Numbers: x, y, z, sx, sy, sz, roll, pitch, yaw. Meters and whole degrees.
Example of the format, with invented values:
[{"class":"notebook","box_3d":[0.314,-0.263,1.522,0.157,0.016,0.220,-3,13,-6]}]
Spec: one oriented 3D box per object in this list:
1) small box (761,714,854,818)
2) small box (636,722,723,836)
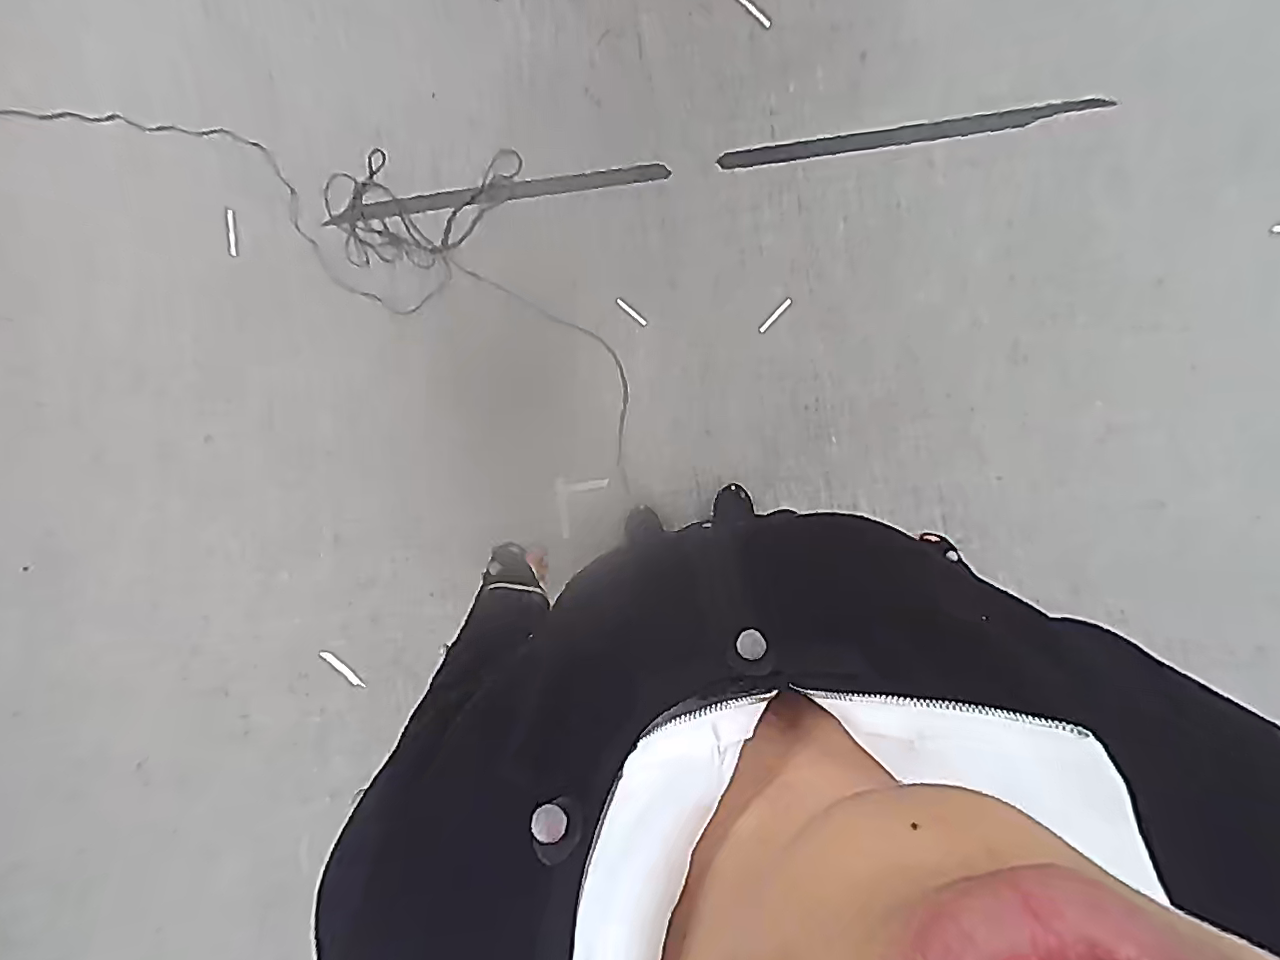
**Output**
[{"class":"small box","box_3d":[0.376,0.615,1.208,0.179,0.176,0.168,-11,88,4]},{"class":"small box","box_3d":[0.090,0.660,1.226,0.168,0.176,0.179,-10,88,3]}]
